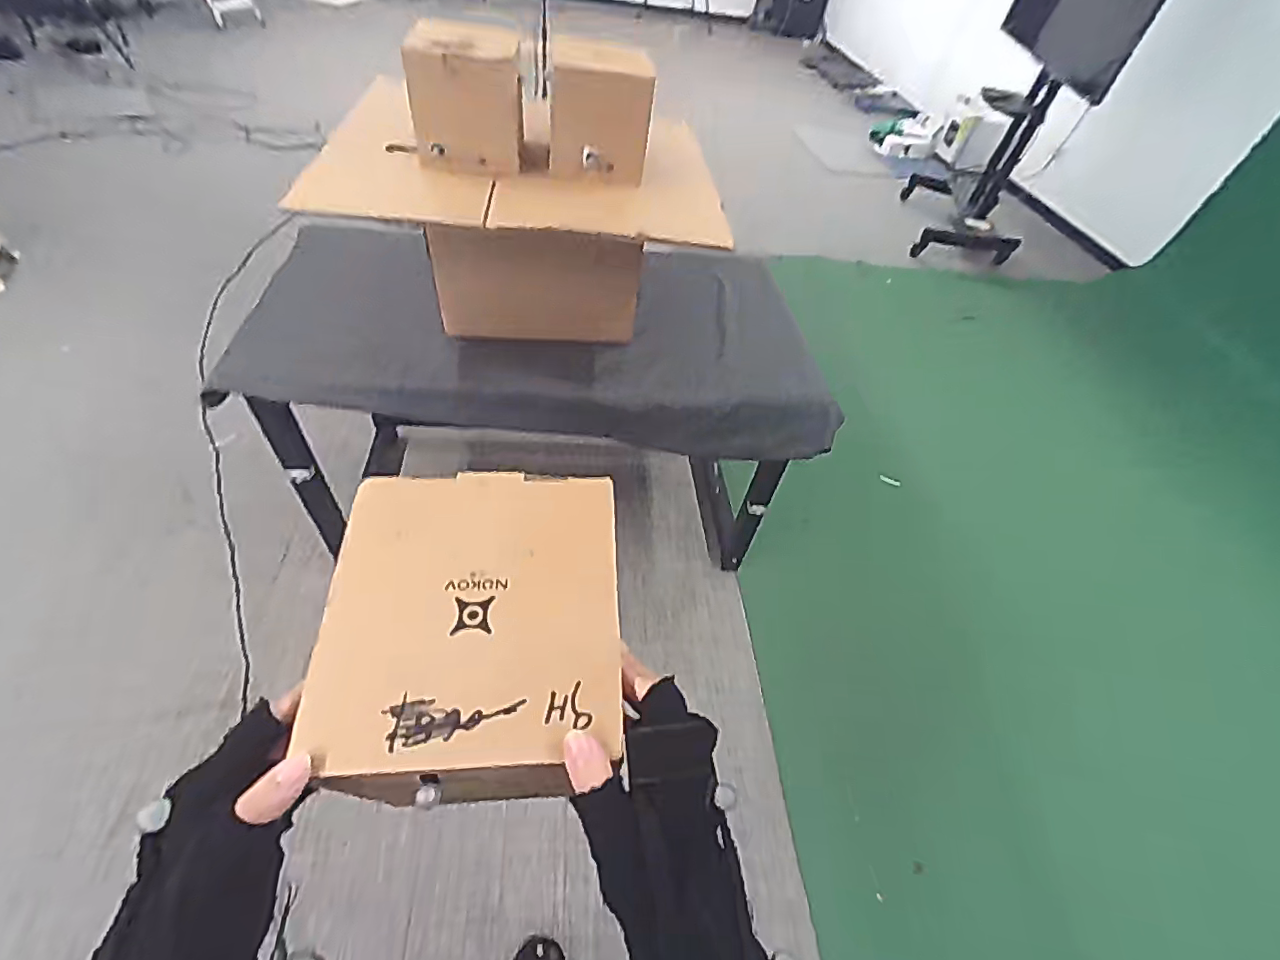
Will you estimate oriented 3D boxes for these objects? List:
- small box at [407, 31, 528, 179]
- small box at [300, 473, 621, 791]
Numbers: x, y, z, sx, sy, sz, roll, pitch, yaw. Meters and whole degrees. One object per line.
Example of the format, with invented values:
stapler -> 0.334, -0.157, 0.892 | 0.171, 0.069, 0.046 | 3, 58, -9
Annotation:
small box -> -0.283, -0.641, 0.931 | 0.168, 0.176, 0.179 | 1, 49, -8
small box -> -0.101, 0.113, 0.392 | 0.168, 0.176, 0.179 | 0, 54, -5
